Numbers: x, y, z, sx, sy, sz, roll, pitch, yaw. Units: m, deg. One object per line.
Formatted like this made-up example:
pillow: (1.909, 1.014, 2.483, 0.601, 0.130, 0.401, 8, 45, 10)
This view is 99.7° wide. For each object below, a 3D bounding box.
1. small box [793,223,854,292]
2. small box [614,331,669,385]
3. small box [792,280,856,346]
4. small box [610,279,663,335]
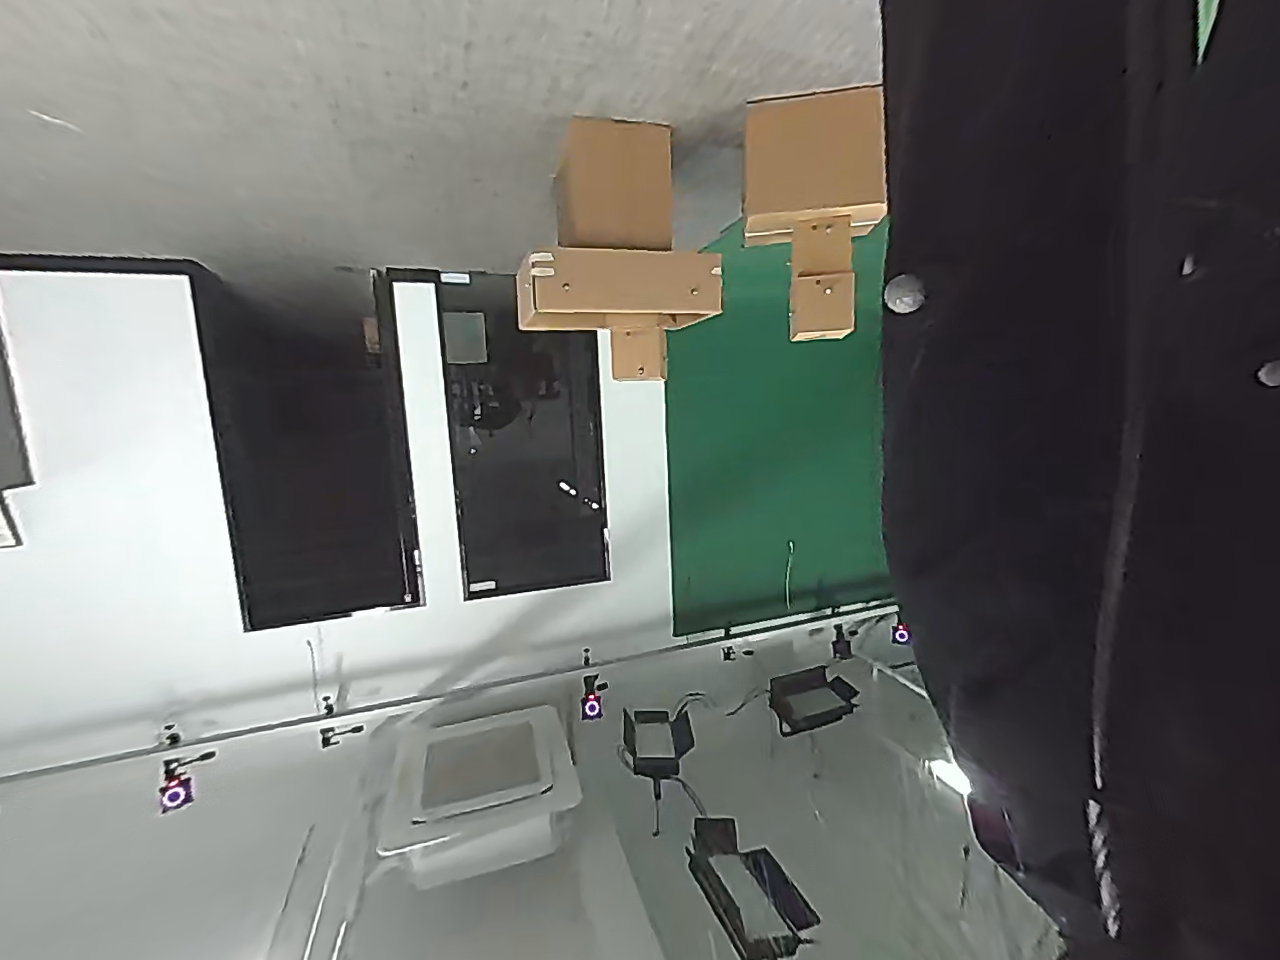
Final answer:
small box: (0.566, -0.682, 1.677, 0.168, 0.176, 0.179, -1, -173, 14)
small box: (0.009, -0.415, 1.856, 0.168, 0.176, 0.179, 0, -172, 11)
small box: (0.570, -0.518, 1.686, 0.168, 0.176, 0.179, -2, -174, 9)
small box: (-0.010, -0.577, 1.828, 0.168, 0.176, 0.179, 0, -172, 5)
